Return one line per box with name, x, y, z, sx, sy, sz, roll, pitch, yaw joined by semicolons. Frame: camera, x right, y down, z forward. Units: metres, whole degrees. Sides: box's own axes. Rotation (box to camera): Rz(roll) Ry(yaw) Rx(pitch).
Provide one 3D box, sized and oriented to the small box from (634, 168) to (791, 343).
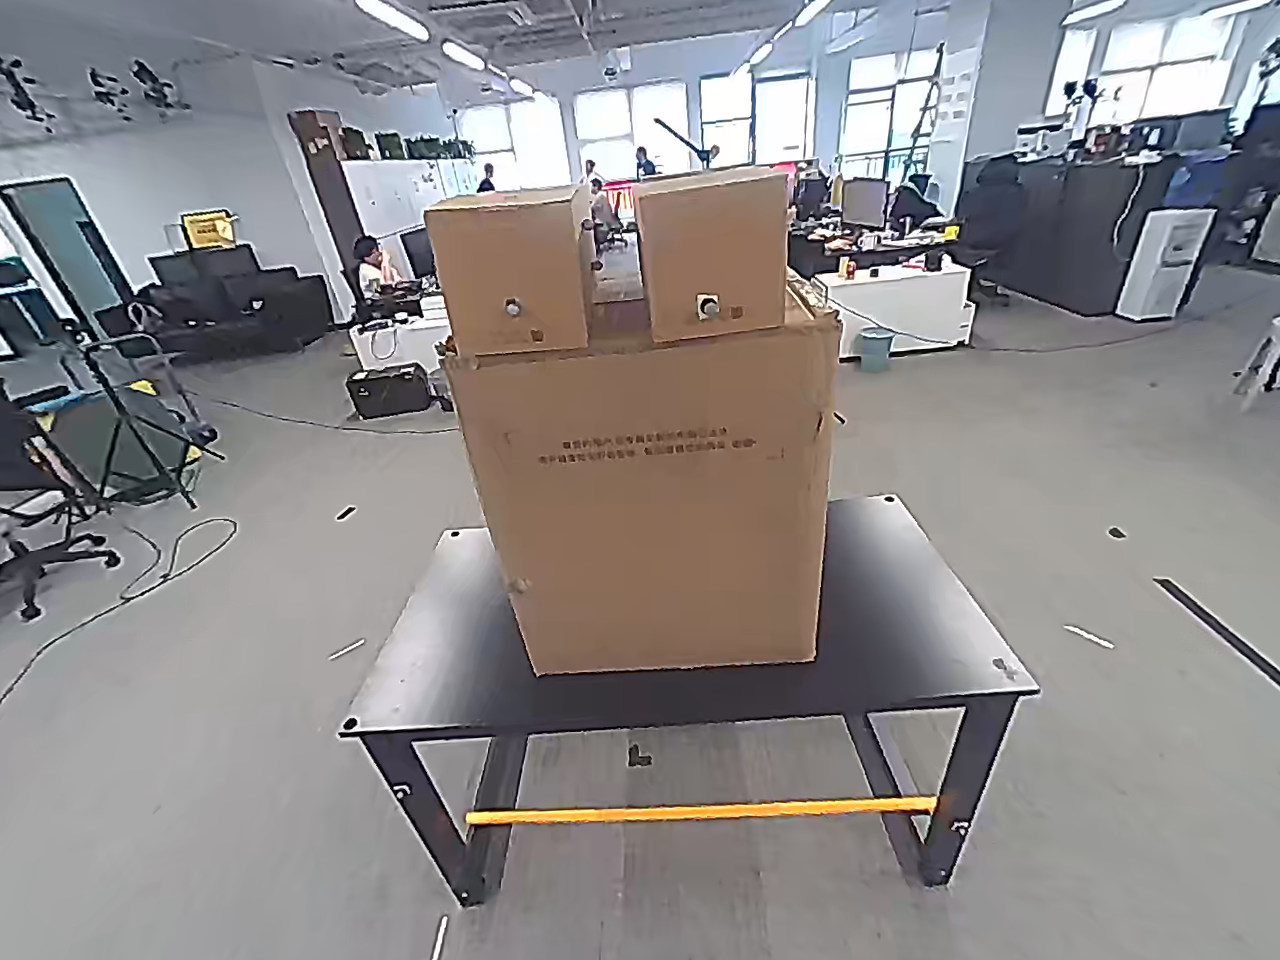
small box;0.086;-0.288;0.690;0.168;0.176;0.179;-9;33;1
